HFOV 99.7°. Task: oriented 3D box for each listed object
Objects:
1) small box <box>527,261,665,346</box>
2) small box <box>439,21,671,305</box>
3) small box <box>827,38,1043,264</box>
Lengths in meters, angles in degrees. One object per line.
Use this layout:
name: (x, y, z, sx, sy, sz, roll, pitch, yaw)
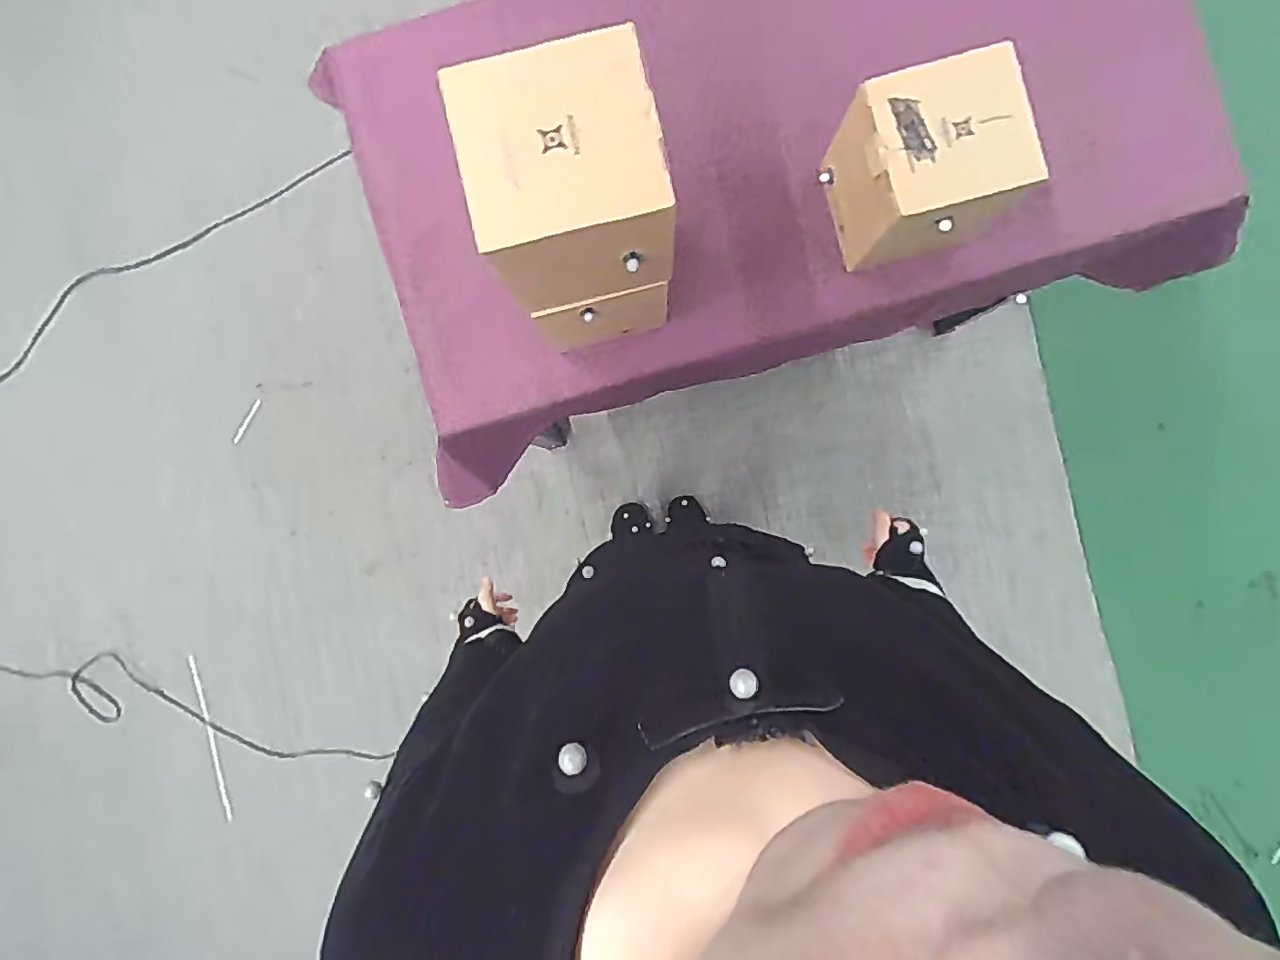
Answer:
small box: (-0.067, -0.295, 0.707, 0.168, 0.176, 0.179, -13, 89, 2)
small box: (-0.072, -0.295, 0.543, 0.179, 0.176, 0.168, -12, 89, 2)
small box: (0.356, -0.401, 0.693, 0.179, 0.176, 0.168, -14, 90, 1)
